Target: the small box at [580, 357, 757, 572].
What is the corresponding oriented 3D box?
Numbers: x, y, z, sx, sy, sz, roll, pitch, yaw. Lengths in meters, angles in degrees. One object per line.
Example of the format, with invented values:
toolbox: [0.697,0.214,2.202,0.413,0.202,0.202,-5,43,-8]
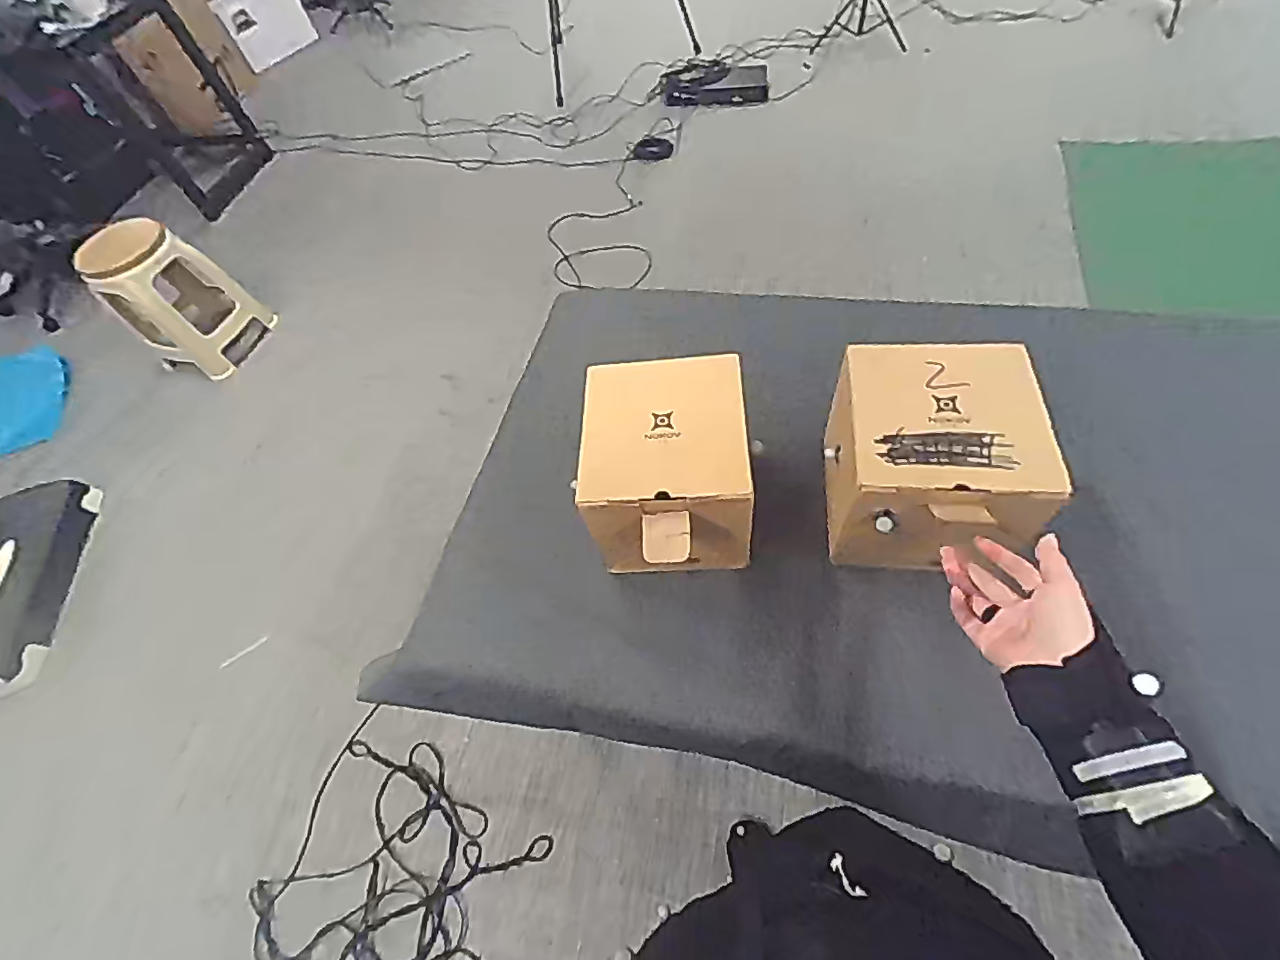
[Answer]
small box: [0.036,-0.011,0.605,0.168,0.176,0.179,-3,58,7]
